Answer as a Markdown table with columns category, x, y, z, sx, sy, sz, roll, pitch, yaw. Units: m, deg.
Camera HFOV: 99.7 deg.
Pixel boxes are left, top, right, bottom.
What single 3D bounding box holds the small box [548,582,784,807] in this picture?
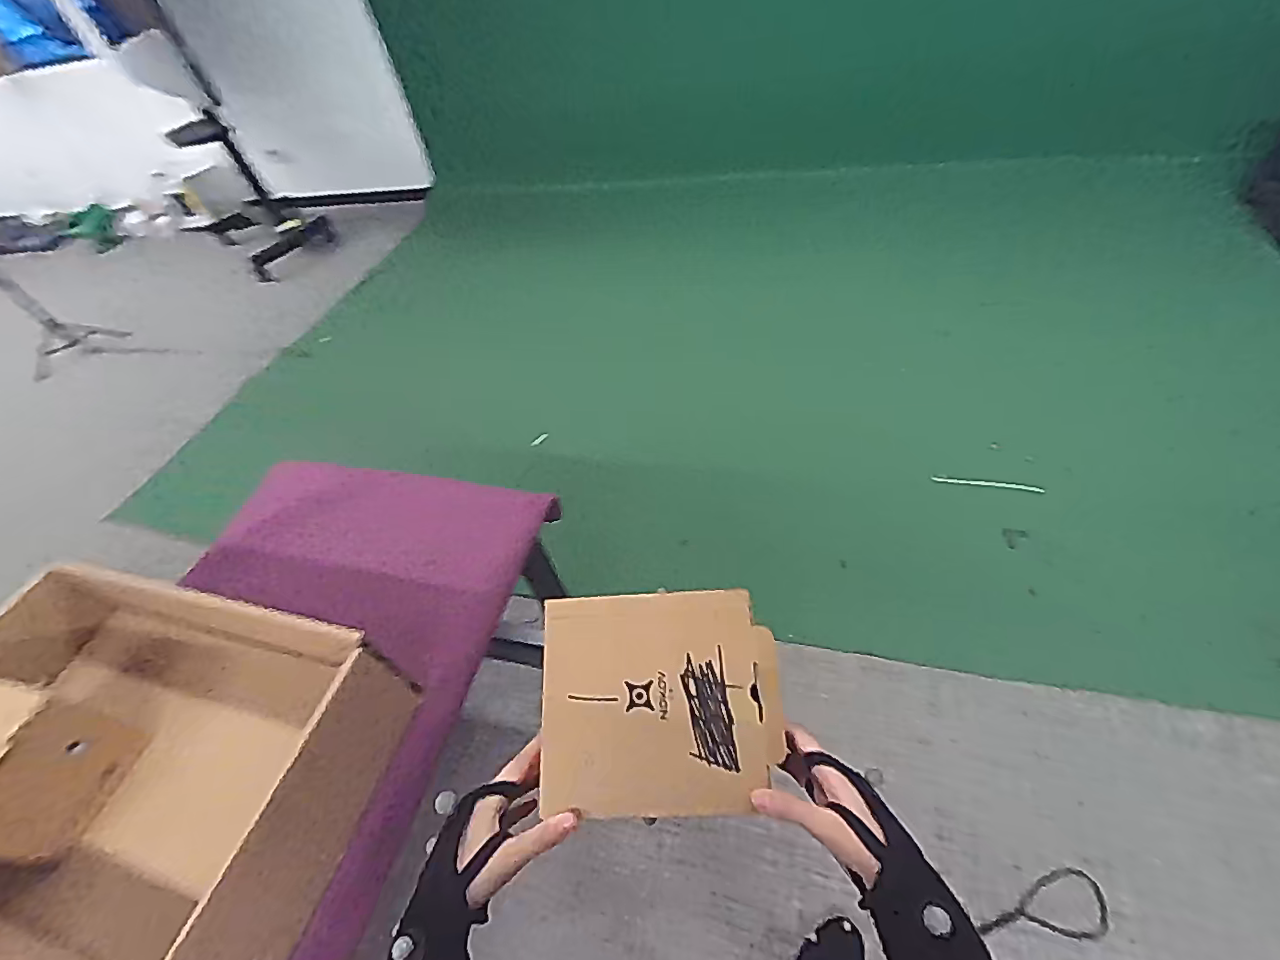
| category | x | y | z | sx | sy | sz | roll | pitch | yaw |
| --- | --- | --- | --- | --- | --- | --- | --- | --- | --- |
| small box | 0.022 | 0.195 | 0.499 | 0.179 | 0.176 | 0.168 | -3 | 65 | 3 |
